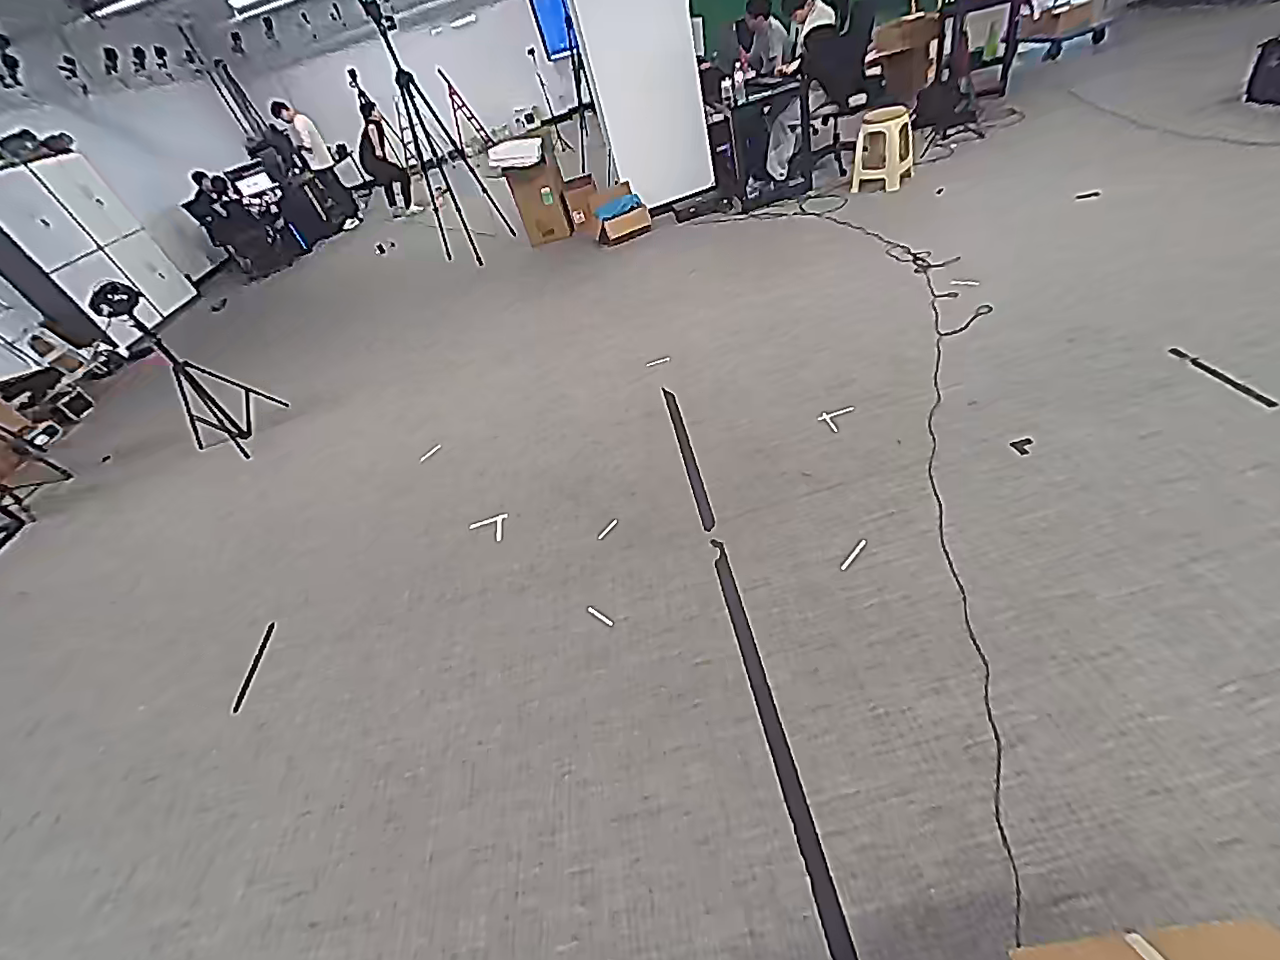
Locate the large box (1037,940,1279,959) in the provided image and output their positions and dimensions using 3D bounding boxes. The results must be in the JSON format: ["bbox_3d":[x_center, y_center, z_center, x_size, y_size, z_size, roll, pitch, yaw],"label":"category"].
[{"bbox_3d":[0.641,0.728,0.485,0.320,0.408,0.320,-15,78,9],"label":"large box"}]
